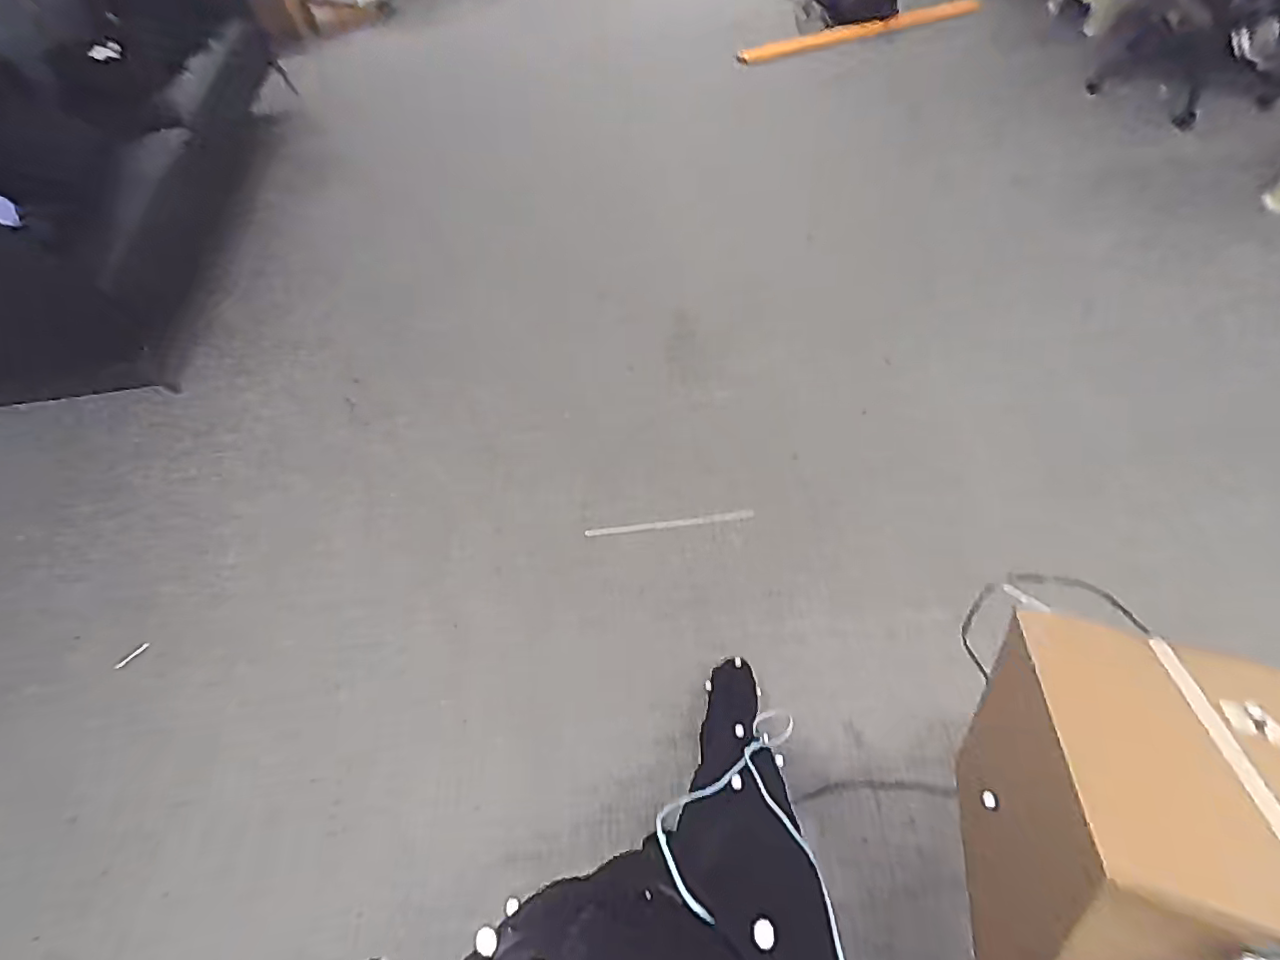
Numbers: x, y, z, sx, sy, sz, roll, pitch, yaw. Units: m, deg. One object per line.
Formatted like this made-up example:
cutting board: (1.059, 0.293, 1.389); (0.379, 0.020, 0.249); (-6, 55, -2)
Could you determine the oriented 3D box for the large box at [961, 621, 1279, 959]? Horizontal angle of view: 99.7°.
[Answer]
large box: (0.588, 0.432, 0.605); (0.320, 0.320, 0.408); (13, 24, 20)
